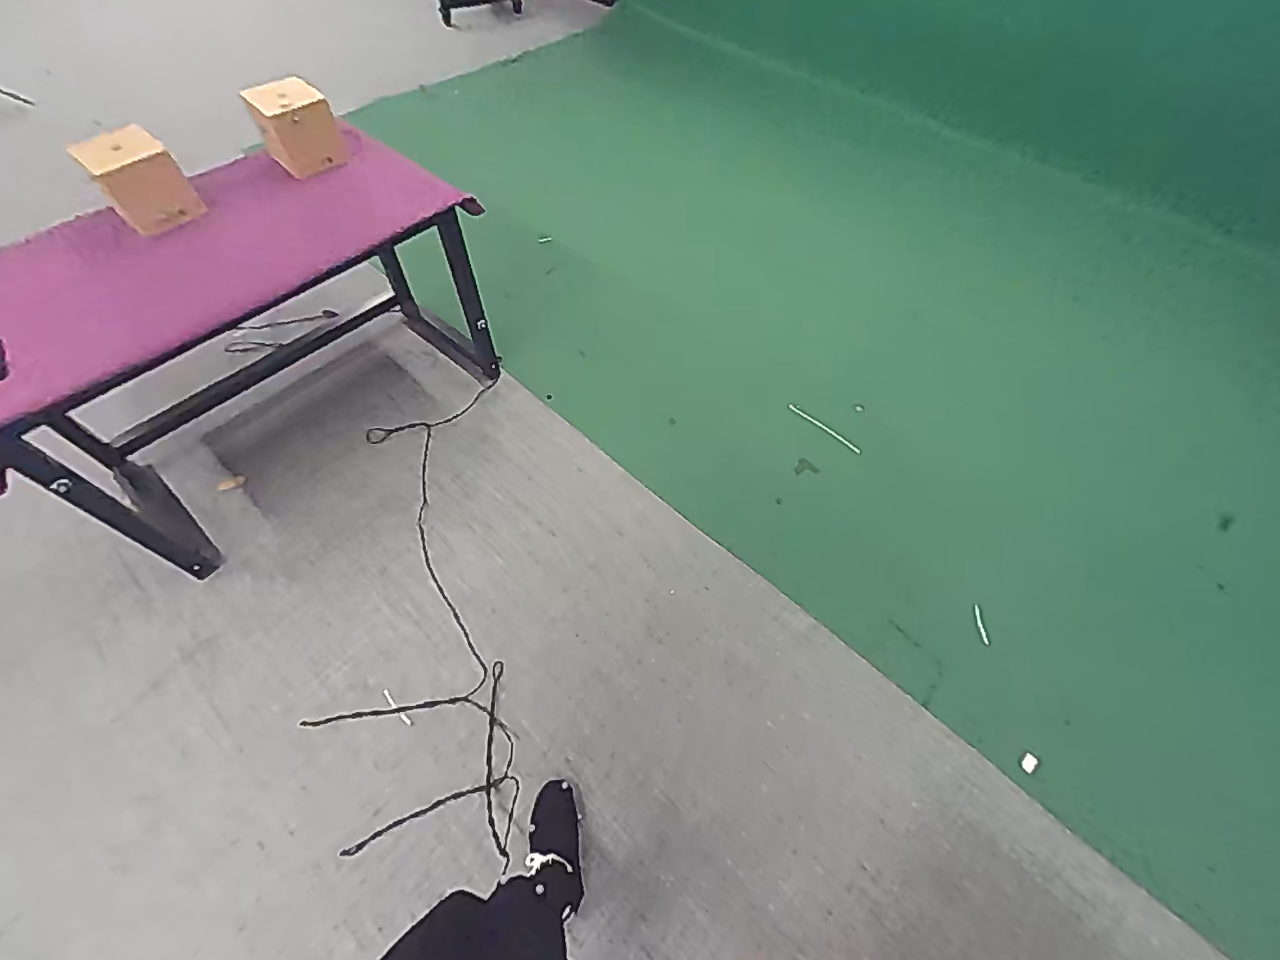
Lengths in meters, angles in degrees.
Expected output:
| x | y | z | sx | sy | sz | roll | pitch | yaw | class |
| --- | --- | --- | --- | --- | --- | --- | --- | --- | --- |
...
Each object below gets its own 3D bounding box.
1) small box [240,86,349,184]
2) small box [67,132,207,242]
| x | y | z | sx | sy | sz | roll | pitch | yaw | class |
| --- | --- | --- | --- | --- | --- | --- | --- | --- | --- |
| -0.974 | -0.977 | 1.537 | 0.179 | 0.176 | 0.168 | 40 | 65 | 22 | small box |
| -1.266 | -0.738 | 1.371 | 0.179 | 0.176 | 0.168 | 37 | 64 | 20 | small box |
